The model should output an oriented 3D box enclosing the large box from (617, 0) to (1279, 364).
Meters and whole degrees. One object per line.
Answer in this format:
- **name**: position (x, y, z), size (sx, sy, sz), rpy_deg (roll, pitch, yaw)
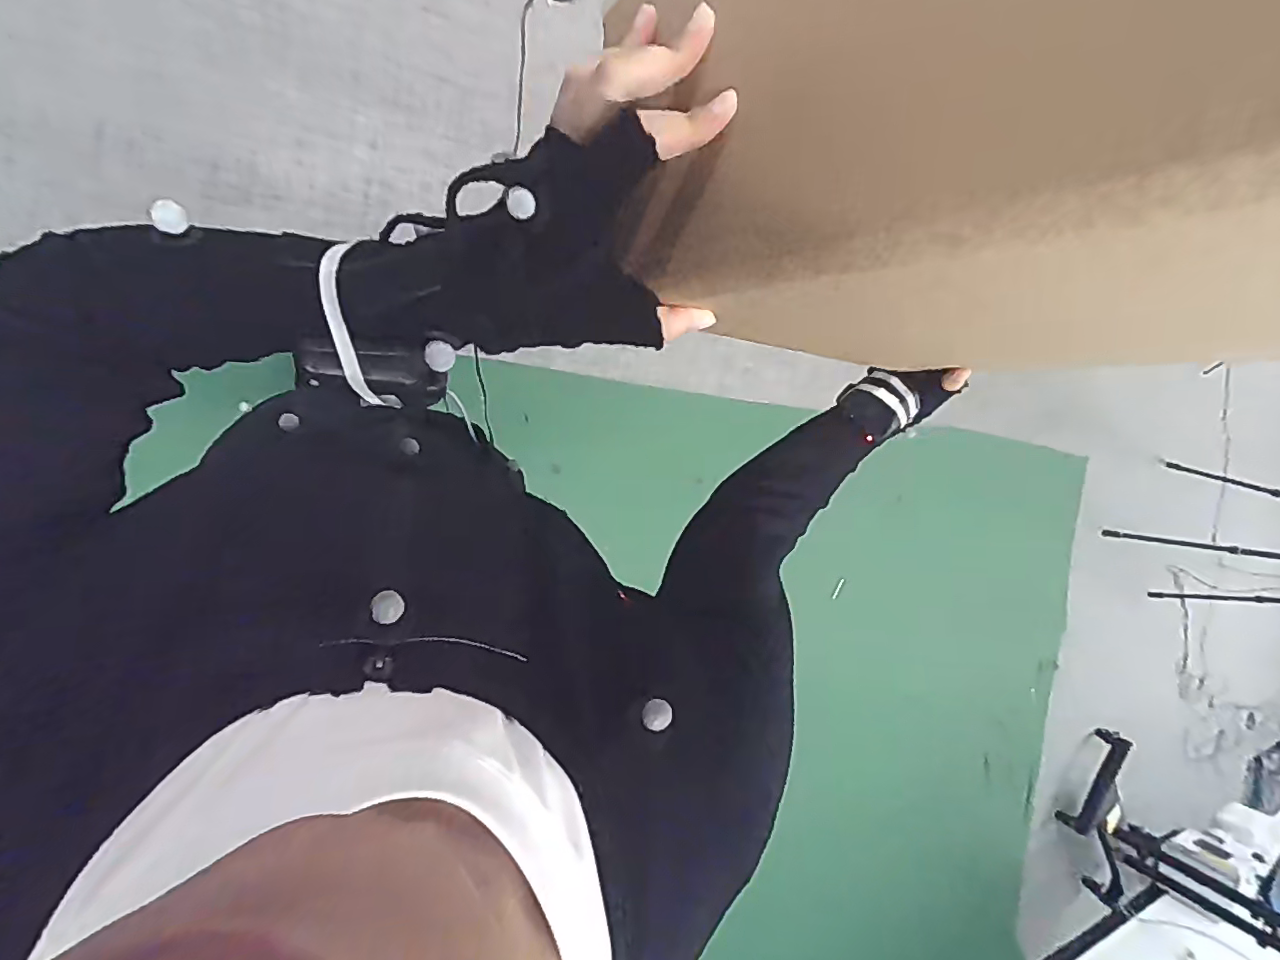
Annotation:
- **large box**: position (0.233, -0.239, 0.304), size (0.408, 0.320, 0.320), rpy_deg (-4, 101, -43)
